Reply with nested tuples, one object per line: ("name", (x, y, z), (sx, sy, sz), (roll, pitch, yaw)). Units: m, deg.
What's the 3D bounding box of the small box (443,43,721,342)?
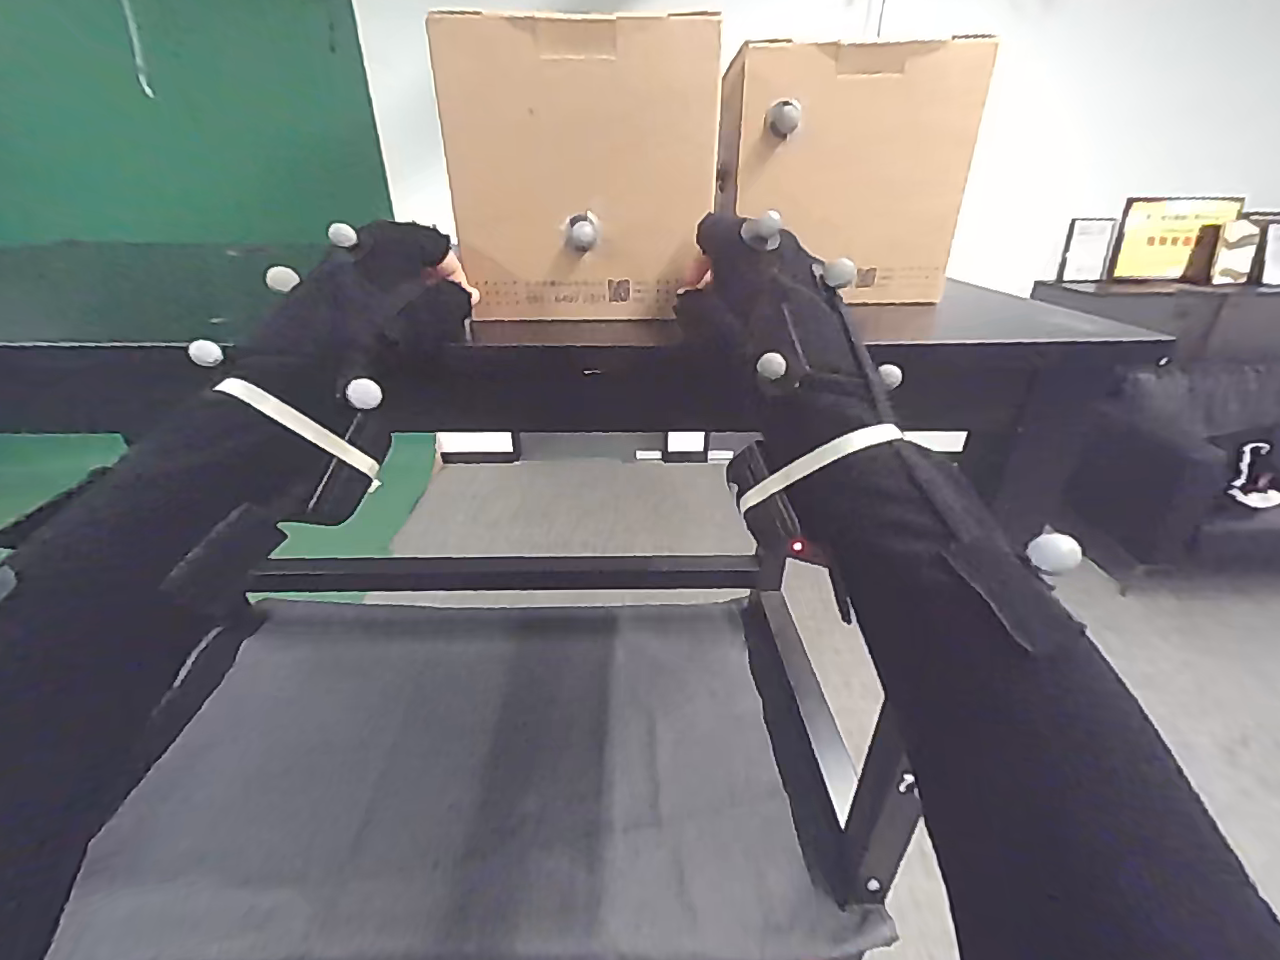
("small box", (-0.036, -0.213, 0.421), (0.168, 0.176, 0.179), (-1, 28, -1))
